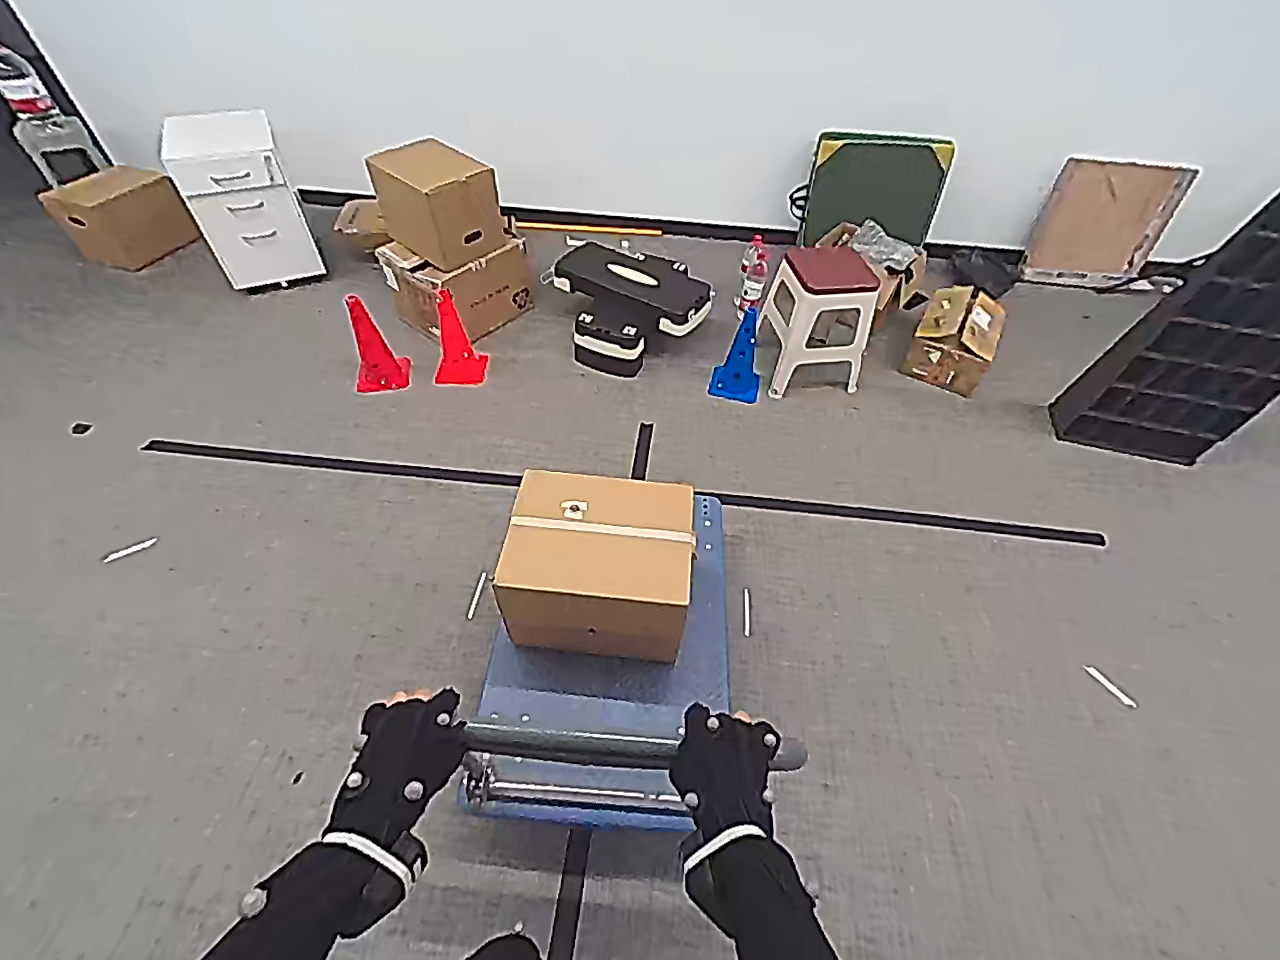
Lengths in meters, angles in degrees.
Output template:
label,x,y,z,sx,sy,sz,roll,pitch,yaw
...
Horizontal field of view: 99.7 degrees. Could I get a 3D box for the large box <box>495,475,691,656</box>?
label,x,y,z,sx,sy,sz,roll,pitch,yaw
large box,-0.091,0.214,1.314,0.408,0.320,0.320,5,51,2
